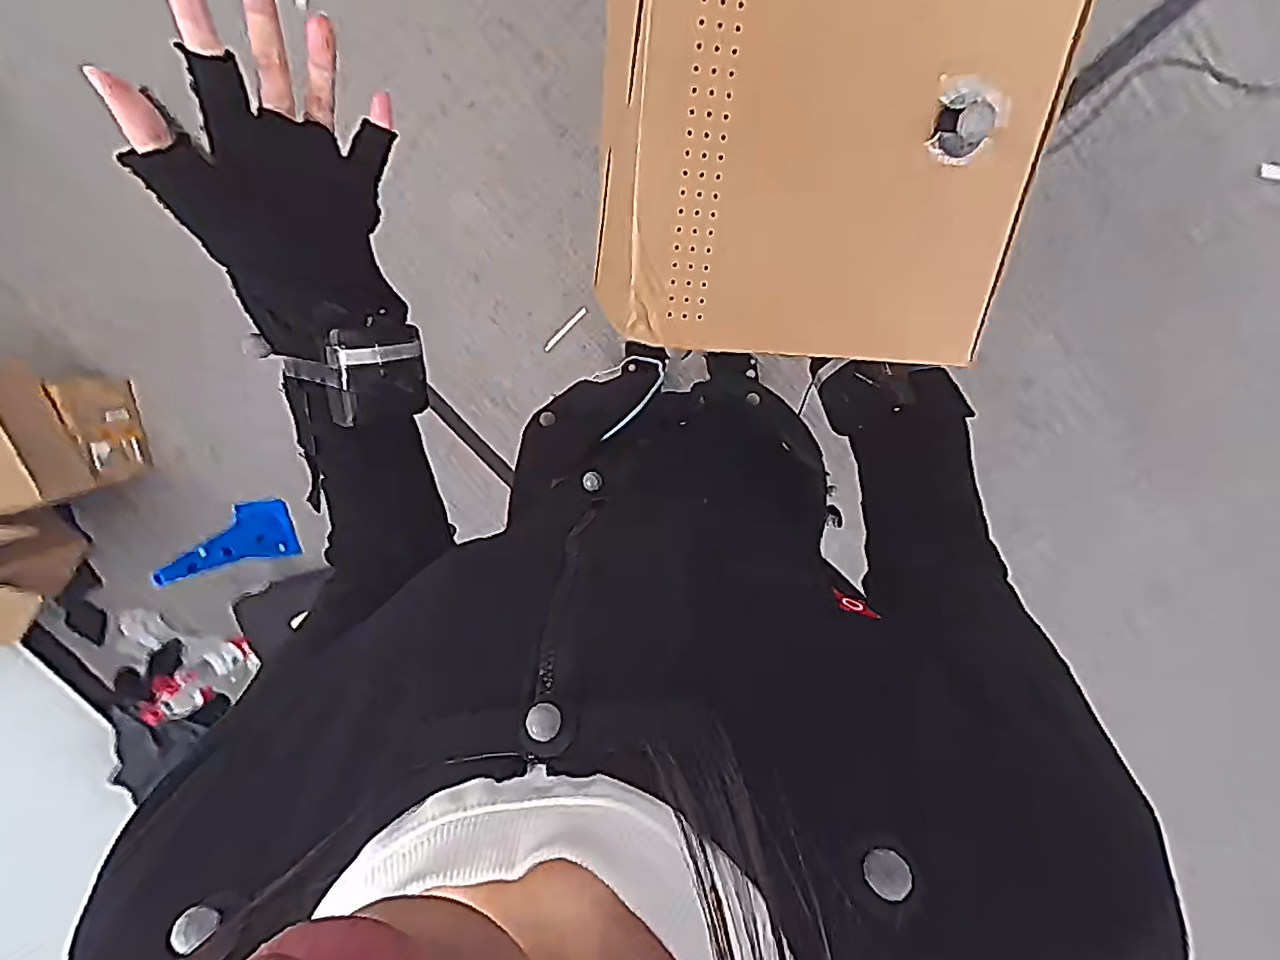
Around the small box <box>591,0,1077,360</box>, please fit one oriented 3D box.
[{"bbox_3d":[0.068,-0.170,0.286,0.176,0.168,0.179,3,115,-9],"label":"small box"}]
